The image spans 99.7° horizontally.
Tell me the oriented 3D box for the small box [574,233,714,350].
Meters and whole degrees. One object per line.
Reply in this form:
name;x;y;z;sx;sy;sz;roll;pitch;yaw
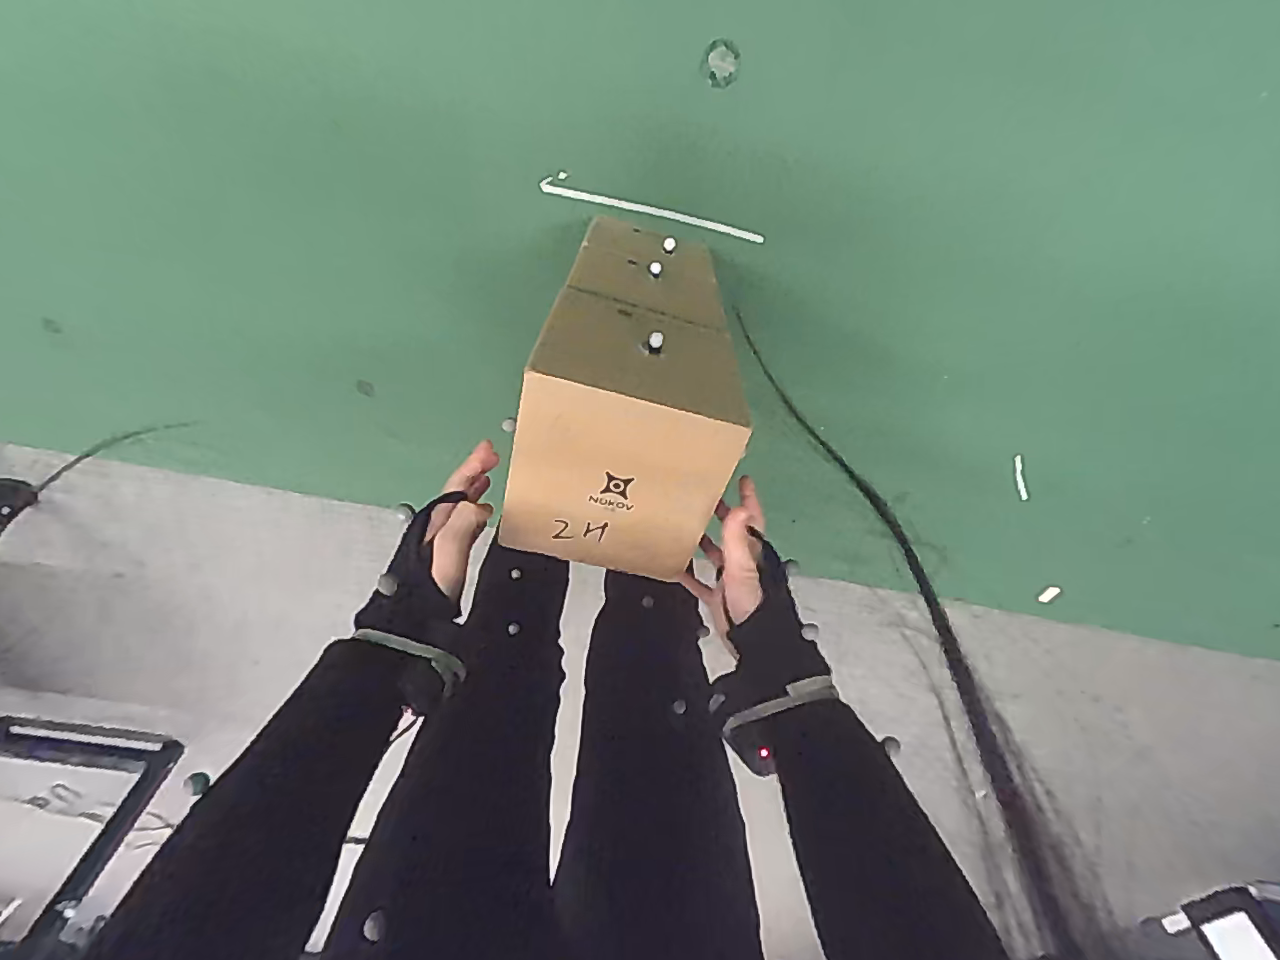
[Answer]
small box;-0.009;-0.223;0.755;0.168;0.176;0.179;13;127;-7

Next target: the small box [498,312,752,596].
small box;-0.019;-0.028;0.490;0.168;0.176;0.179;14;127;-8
